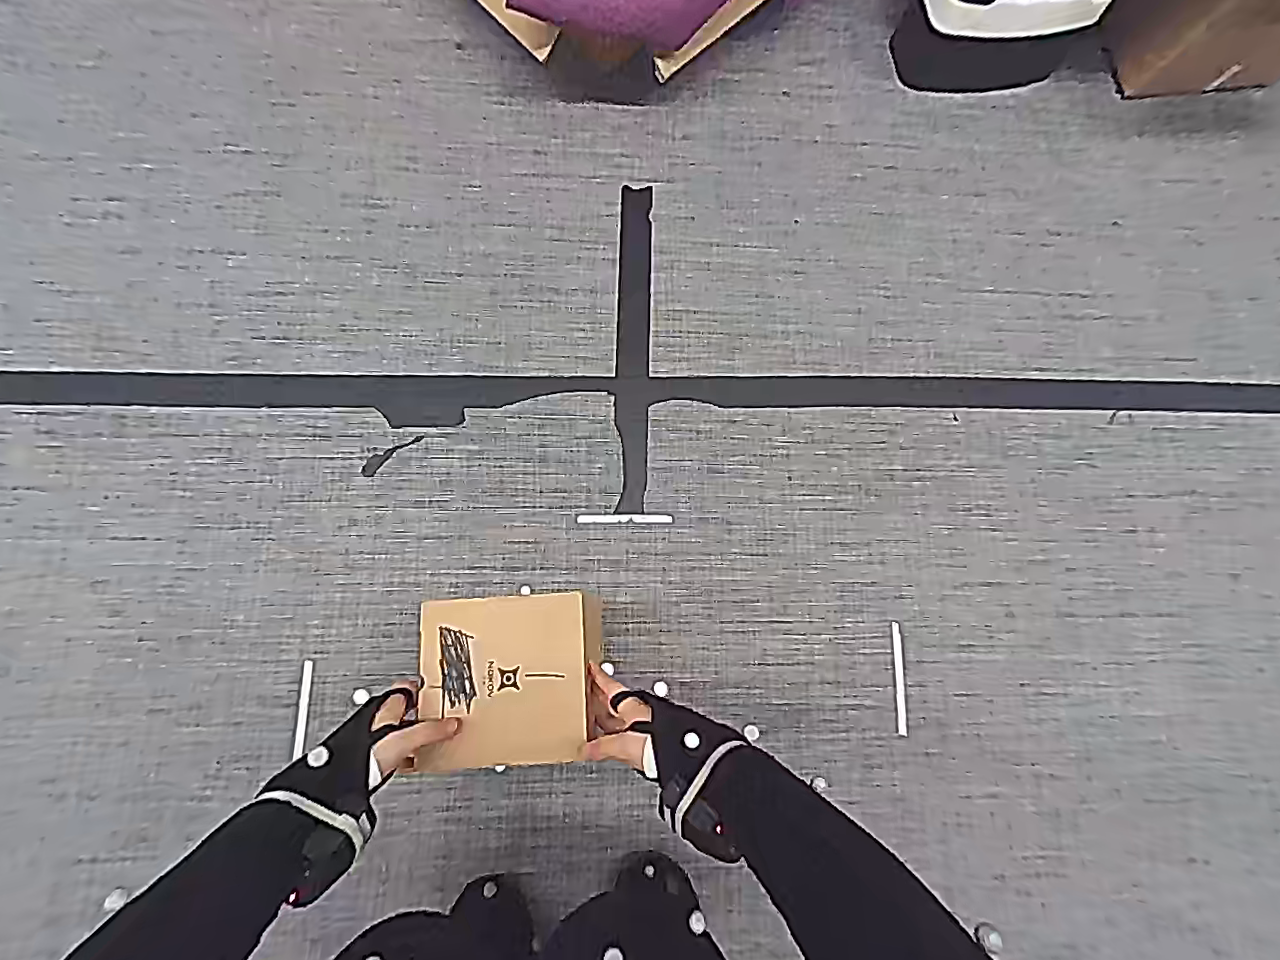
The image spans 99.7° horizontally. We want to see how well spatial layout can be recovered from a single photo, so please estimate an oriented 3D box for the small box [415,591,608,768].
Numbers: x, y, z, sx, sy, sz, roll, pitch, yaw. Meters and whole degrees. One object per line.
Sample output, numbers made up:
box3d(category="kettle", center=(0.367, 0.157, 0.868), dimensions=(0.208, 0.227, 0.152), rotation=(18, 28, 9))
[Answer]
box3d(category="small box", center=(-0.135, 0.221, 0.625), dimensions=(0.179, 0.176, 0.168), rotation=(-4, 75, 2))
